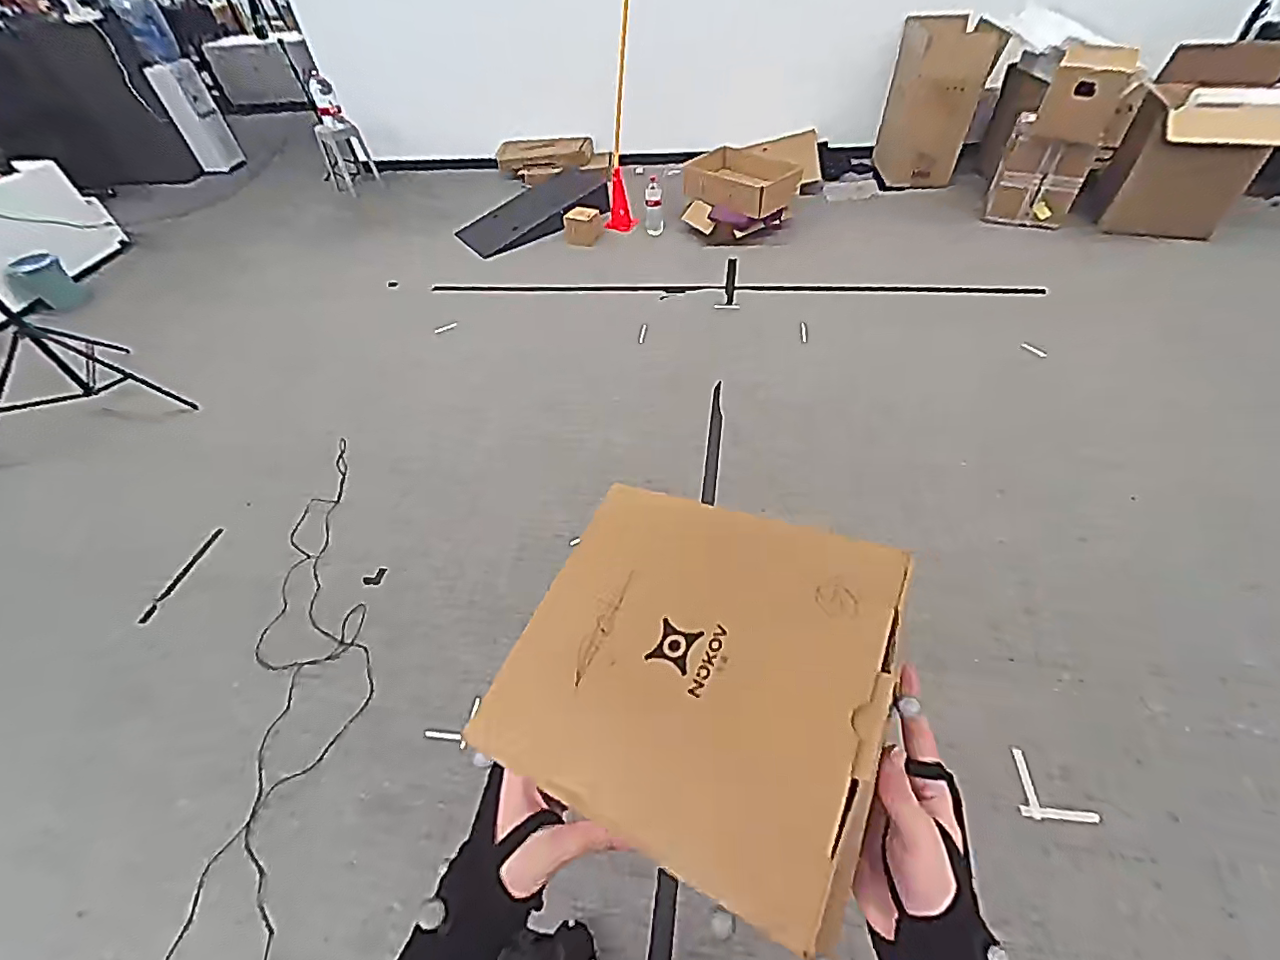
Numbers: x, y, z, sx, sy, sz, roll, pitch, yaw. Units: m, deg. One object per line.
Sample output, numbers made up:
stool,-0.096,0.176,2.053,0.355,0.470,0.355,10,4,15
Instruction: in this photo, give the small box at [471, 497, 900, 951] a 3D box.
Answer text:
small box,0.044,0.138,0.331,0.179,0.176,0.168,12,57,31
